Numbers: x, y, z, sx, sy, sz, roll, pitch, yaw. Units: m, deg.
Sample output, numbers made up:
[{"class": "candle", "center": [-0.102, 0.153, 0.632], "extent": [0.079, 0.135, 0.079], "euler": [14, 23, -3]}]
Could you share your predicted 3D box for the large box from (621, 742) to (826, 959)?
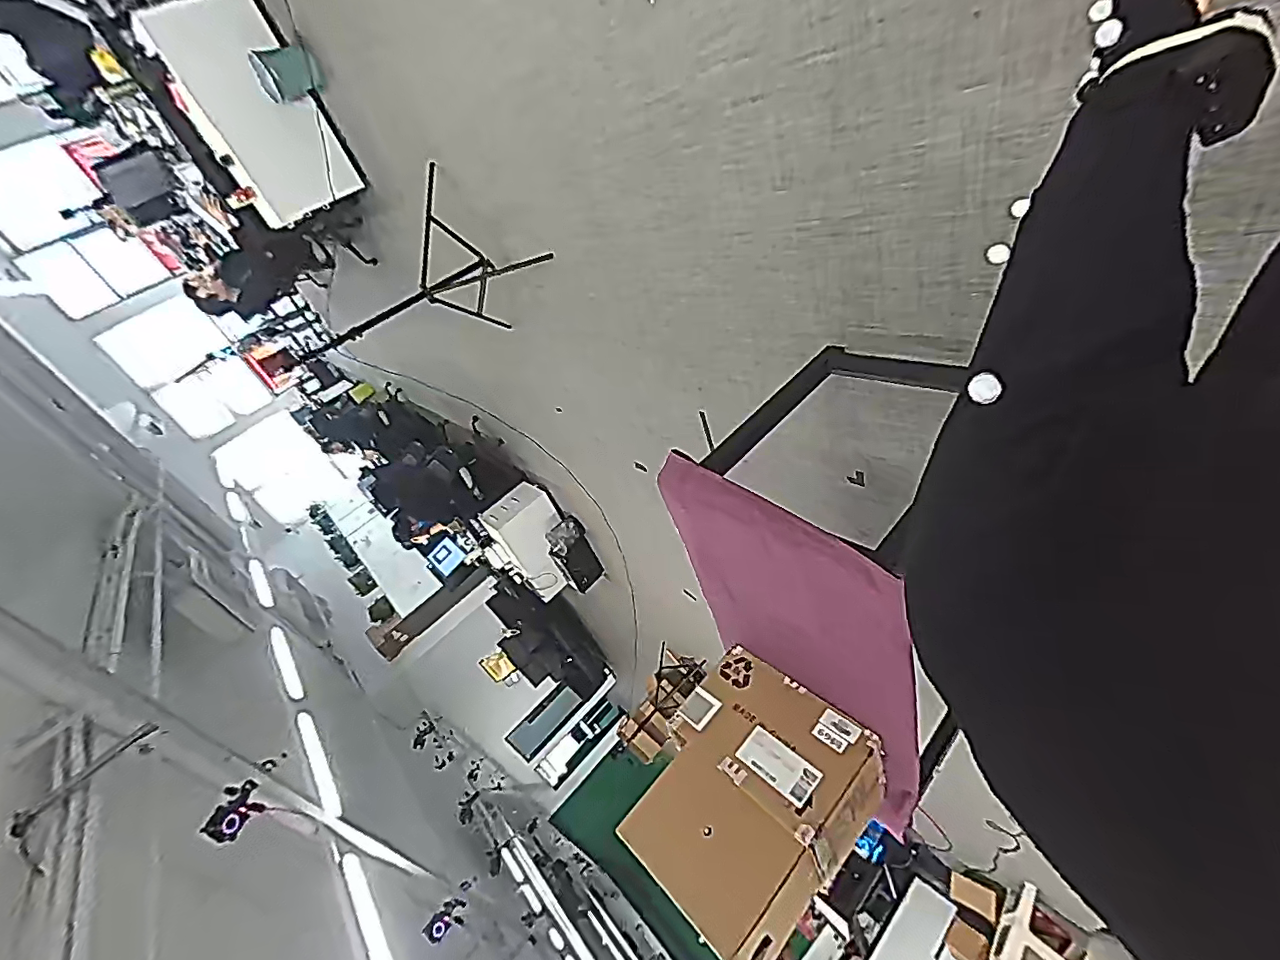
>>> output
[{"class": "large box", "center": [0.224, 1.004, 1.448], "extent": [0.408, 0.320, 0.320], "euler": [22, 147, 46]}]
